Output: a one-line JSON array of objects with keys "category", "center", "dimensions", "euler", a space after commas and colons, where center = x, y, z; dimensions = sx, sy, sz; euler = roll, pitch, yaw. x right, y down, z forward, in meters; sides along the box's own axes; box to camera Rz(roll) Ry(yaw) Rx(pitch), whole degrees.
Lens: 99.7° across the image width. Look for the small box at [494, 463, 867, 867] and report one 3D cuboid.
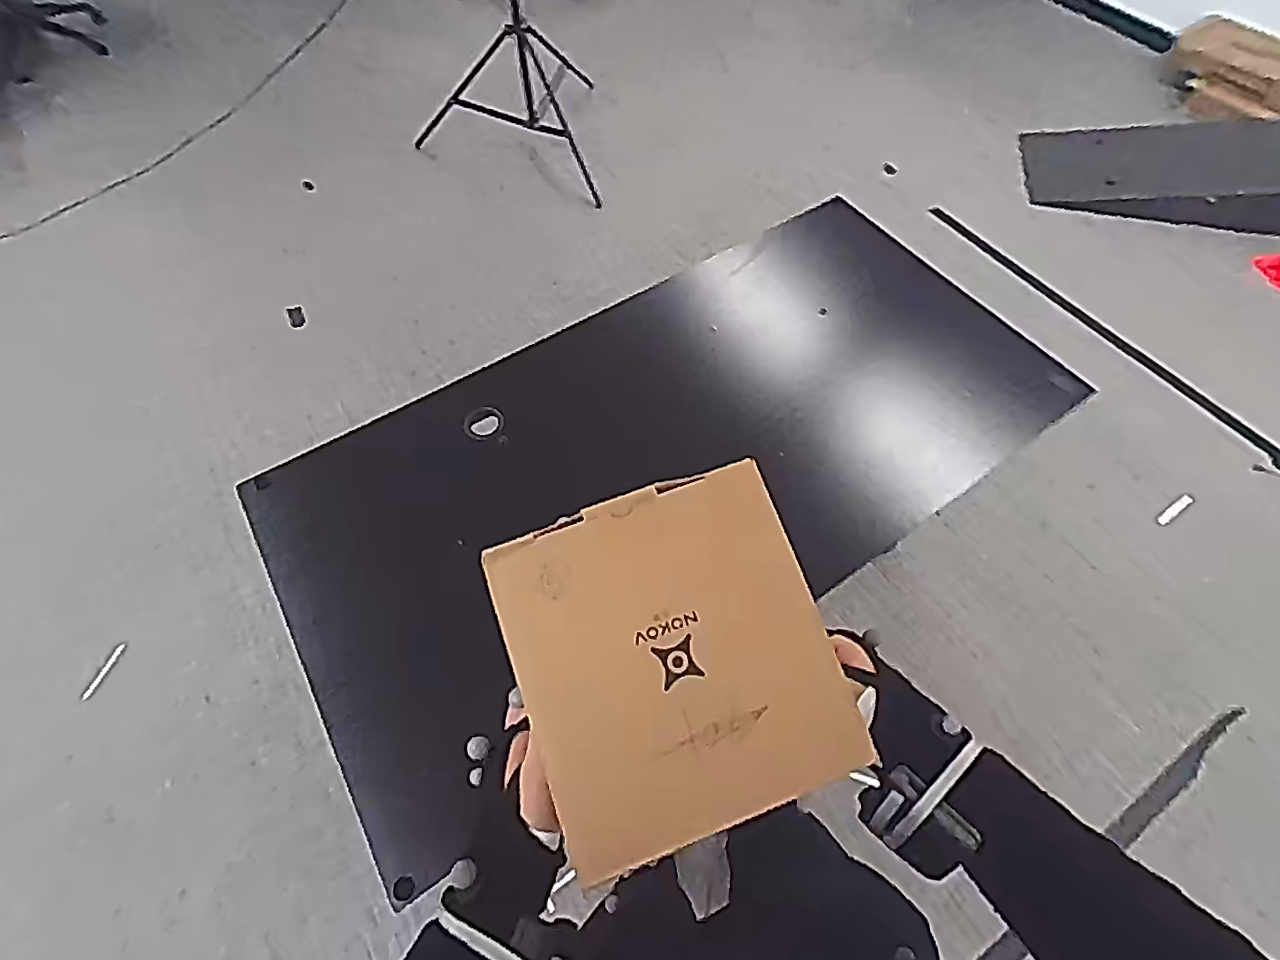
[{"category": "small box", "center": [0.015, 0.111, 0.379], "dimensions": [0.168, 0.176, 0.179], "euler": [-20, 80, -7]}]
